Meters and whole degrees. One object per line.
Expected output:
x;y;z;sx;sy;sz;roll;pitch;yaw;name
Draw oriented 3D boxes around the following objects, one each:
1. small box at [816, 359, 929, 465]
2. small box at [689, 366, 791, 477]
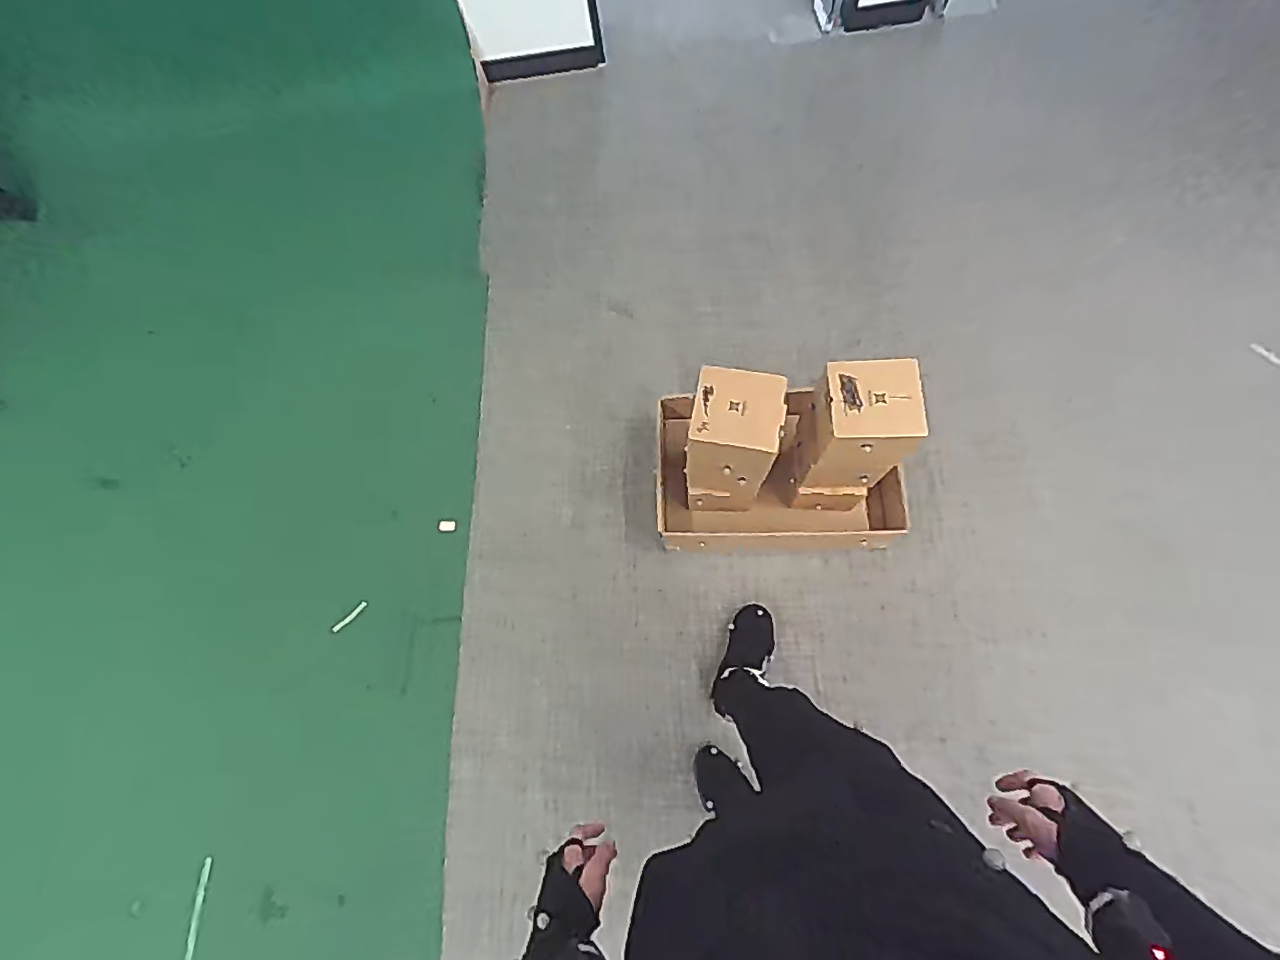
0.465;-0.133;1.114;0.179;0.176;0.168;-1;73;7;small box
0.204;-0.115;1.136;0.179;0.176;0.168;10;73;7;small box
